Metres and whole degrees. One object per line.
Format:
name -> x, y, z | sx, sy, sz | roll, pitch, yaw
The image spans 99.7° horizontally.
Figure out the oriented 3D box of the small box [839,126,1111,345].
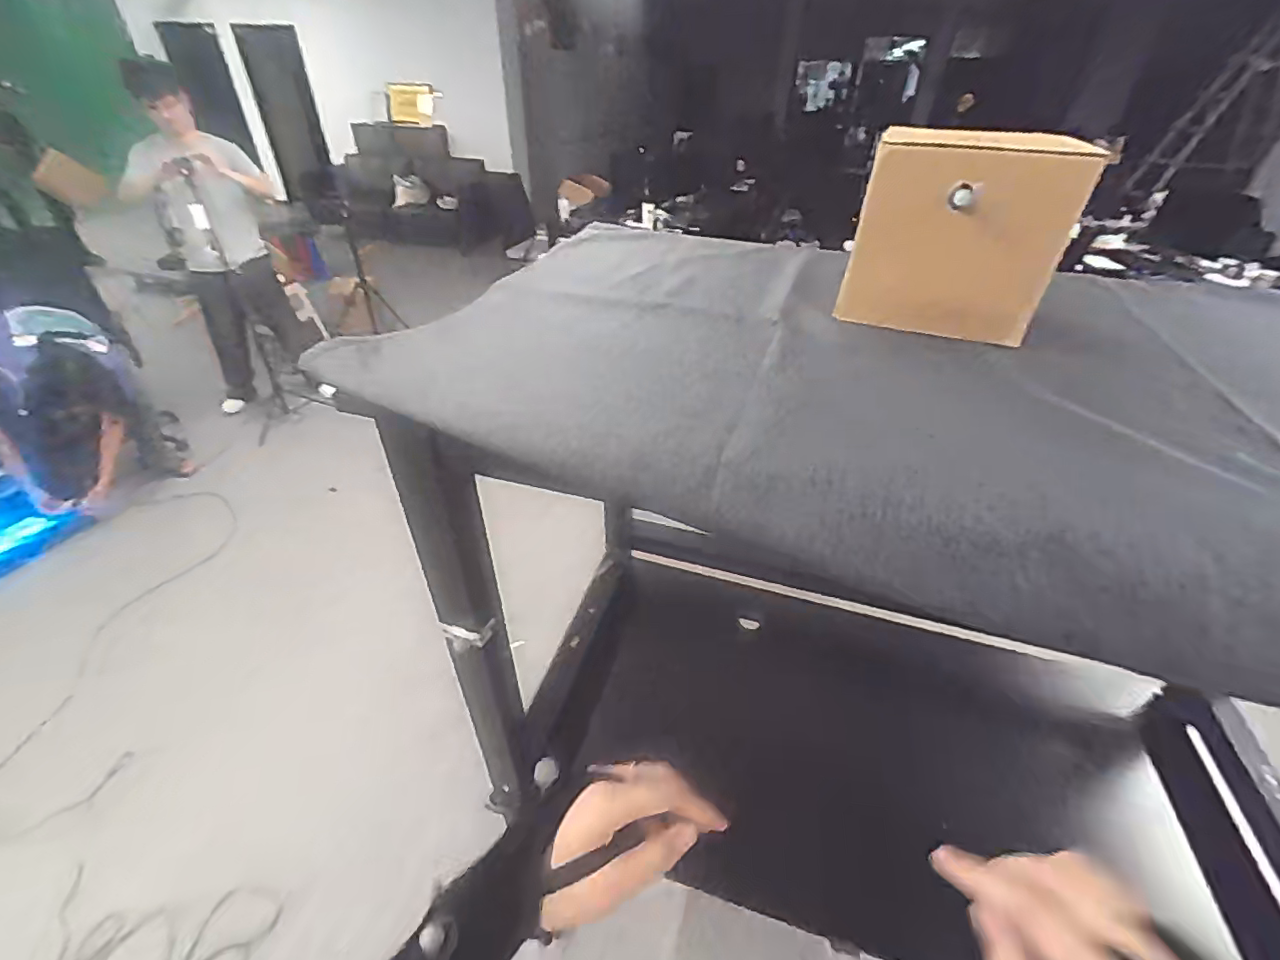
small box -> 0.324, -0.255, 0.560 | 0.179, 0.176, 0.168 | 15, 39, 17
